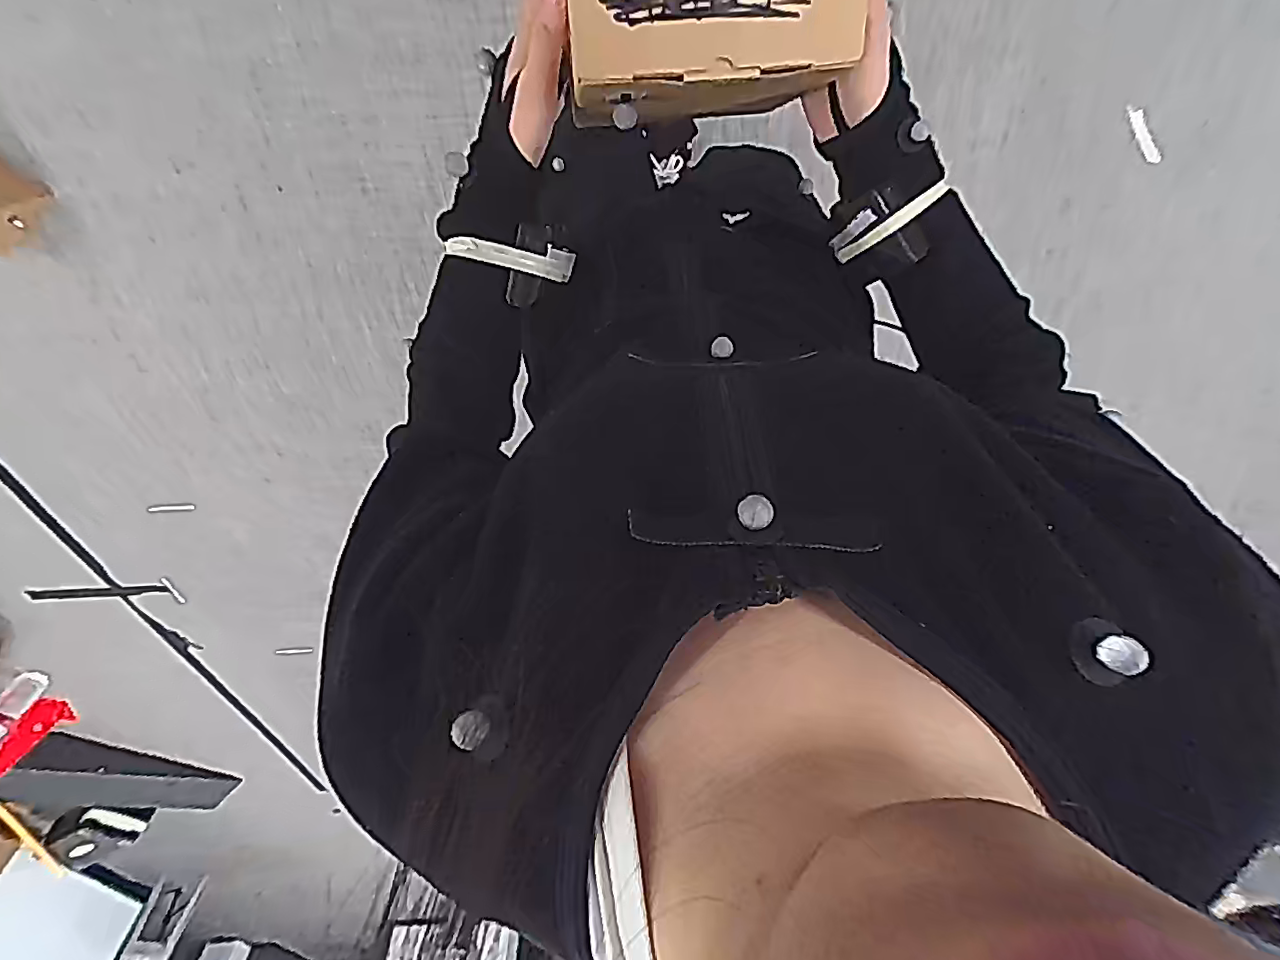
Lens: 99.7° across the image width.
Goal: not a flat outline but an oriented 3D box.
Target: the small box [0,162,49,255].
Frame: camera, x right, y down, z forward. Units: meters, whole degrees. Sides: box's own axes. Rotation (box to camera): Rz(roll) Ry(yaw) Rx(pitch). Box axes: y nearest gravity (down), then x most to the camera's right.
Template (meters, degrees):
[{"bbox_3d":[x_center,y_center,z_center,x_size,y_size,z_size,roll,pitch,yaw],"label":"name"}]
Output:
[{"bbox_3d":[-1.422,-0.586,1.130,0.168,0.176,0.179,-35,121,22],"label":"small box"}]
